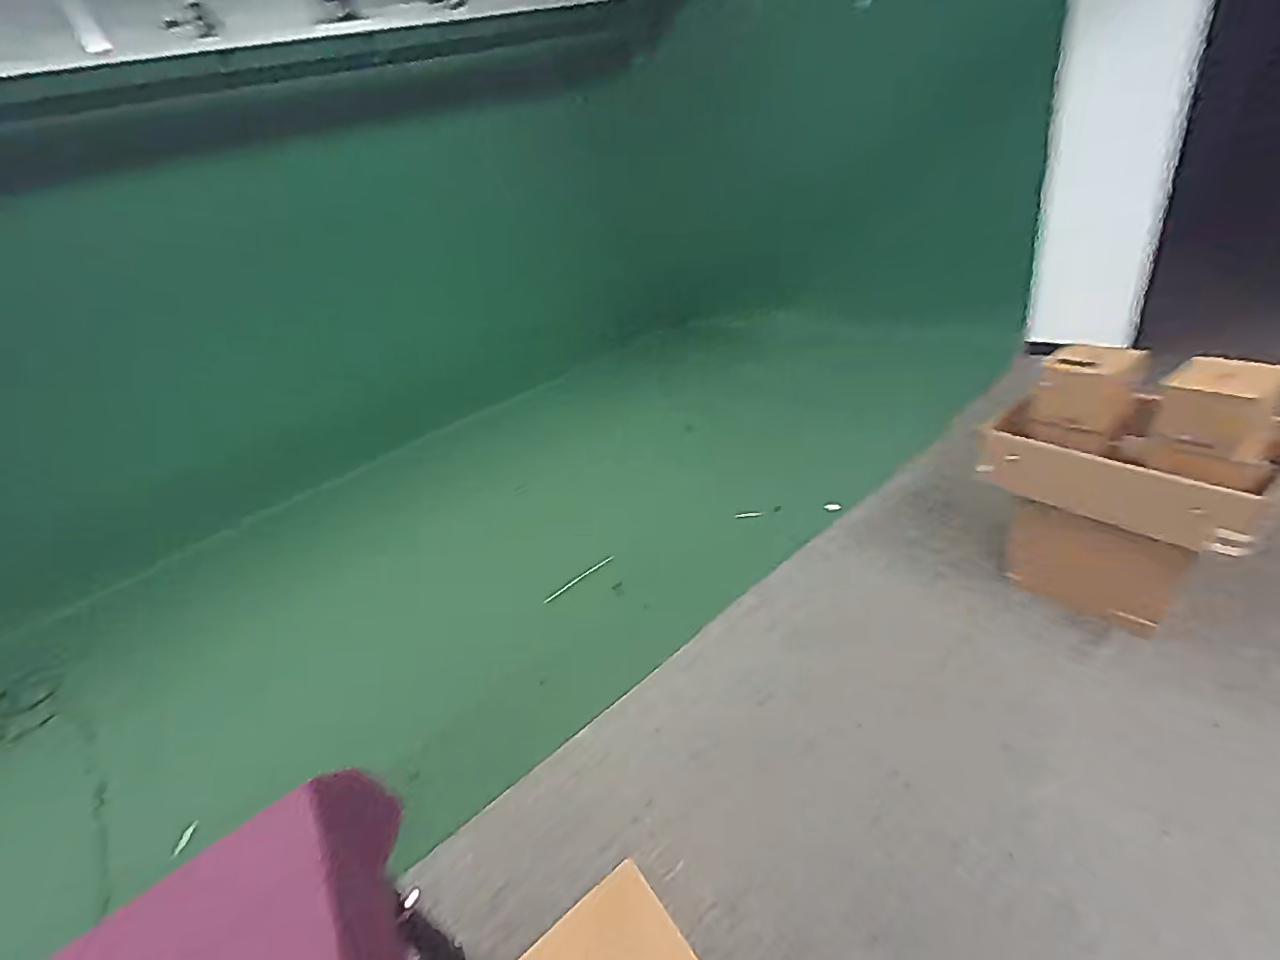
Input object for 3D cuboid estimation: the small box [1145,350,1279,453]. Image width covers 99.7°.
[{"bbox_3d":[1.360,-0.190,1.293,0.179,0.176,0.168,-30,32,-19],"label":"small box"}]
